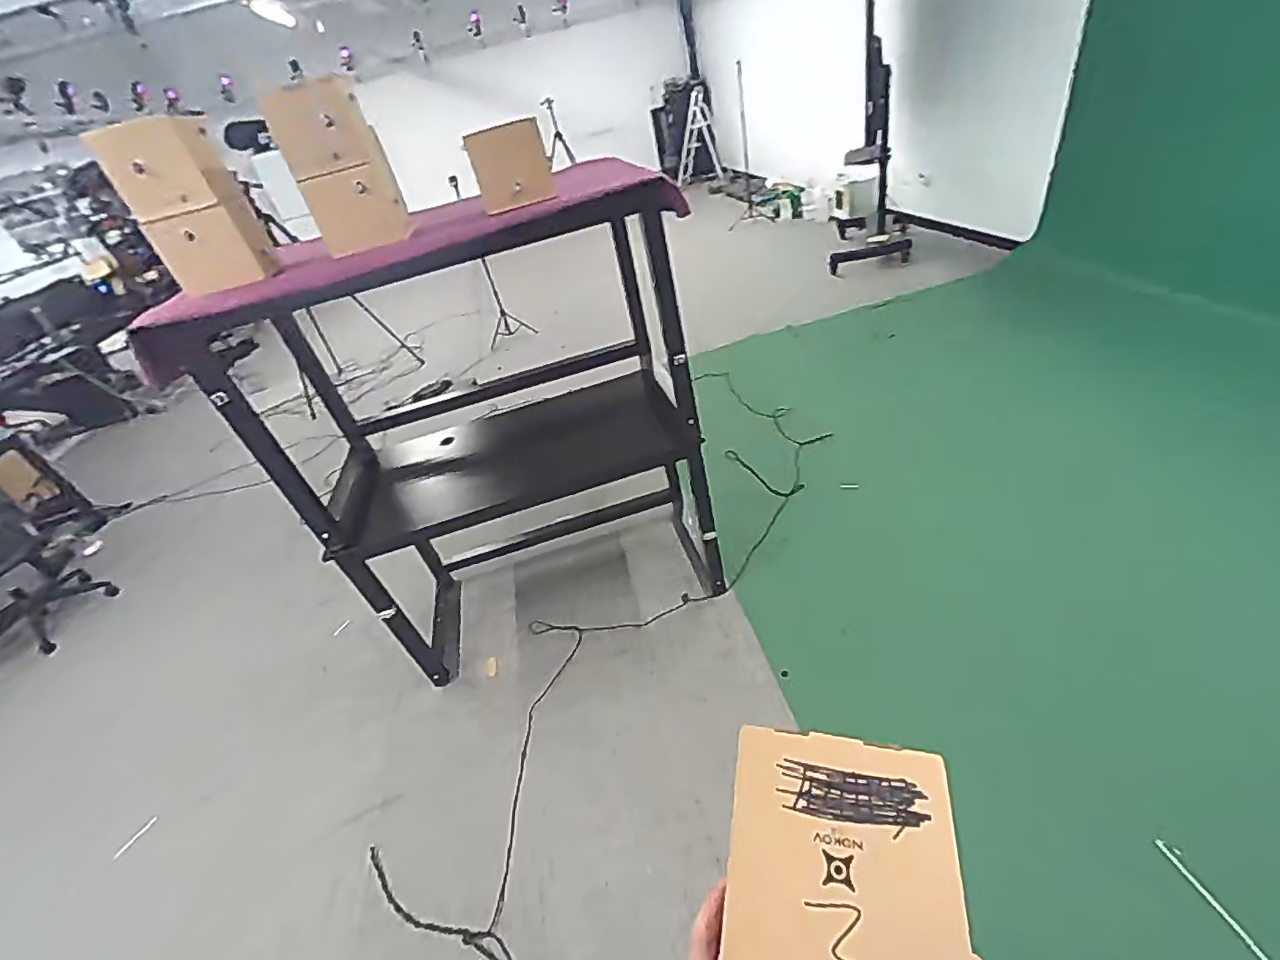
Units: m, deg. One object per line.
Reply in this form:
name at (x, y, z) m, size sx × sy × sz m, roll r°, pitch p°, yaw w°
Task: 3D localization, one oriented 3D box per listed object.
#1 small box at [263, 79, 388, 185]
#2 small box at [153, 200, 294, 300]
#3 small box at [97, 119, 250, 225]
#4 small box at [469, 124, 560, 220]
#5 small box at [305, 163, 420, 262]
small box at (-0.695, -0.780, 1.221) m, size 0.168 × 0.176 × 0.179 m, roll -16°, pitch 35°, yaw -4°
small box at (-0.971, -0.543, 1.279) m, size 0.179 × 0.176 × 0.168 m, roll -18°, pitch 36°, yaw -6°
small box at (-1.005, -0.673, 1.189) m, size 0.168 × 0.176 × 0.179 m, roll -20°, pitch 35°, yaw -7°
small box at (-0.302, -0.757, 1.326) m, size 0.179 × 0.176 × 0.168 m, roll -17°, pitch 34°, yaw -3°
small box at (-0.657, -0.648, 1.309) m, size 0.179 × 0.176 × 0.168 m, roll -17°, pitch 35°, yaw -3°
